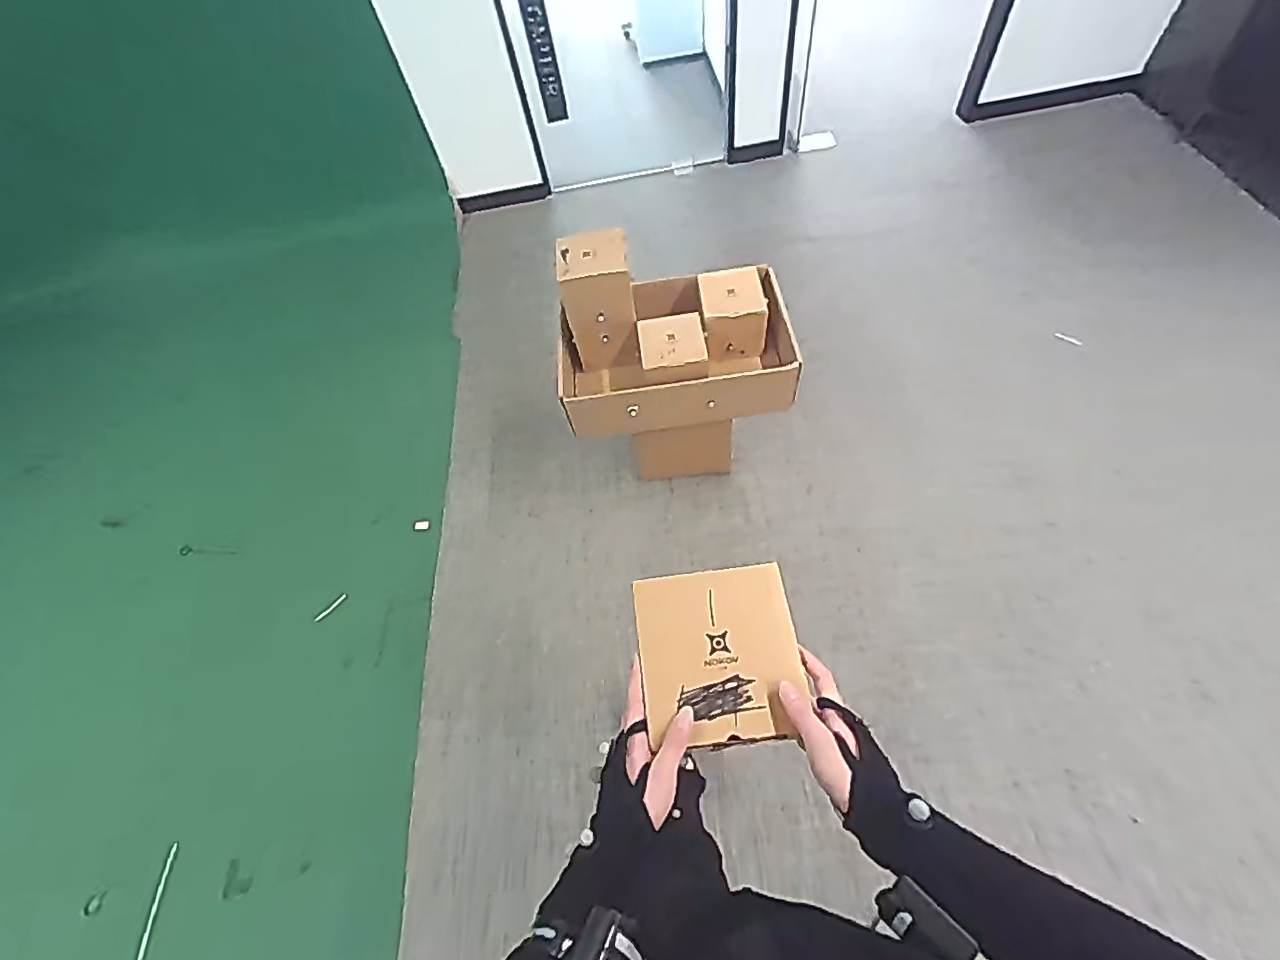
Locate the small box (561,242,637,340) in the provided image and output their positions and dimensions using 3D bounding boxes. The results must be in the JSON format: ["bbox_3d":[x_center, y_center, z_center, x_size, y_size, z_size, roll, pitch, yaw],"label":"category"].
[{"bbox_3d":[-0.103,-0.490,1.412,0.179,0.176,0.168,-7,58,3],"label":"small box"}]

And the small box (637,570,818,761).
[{"bbox_3d":[0.090,0.221,0.627,0.168,0.176,0.179,-7,60,0],"label":"small box"}]
